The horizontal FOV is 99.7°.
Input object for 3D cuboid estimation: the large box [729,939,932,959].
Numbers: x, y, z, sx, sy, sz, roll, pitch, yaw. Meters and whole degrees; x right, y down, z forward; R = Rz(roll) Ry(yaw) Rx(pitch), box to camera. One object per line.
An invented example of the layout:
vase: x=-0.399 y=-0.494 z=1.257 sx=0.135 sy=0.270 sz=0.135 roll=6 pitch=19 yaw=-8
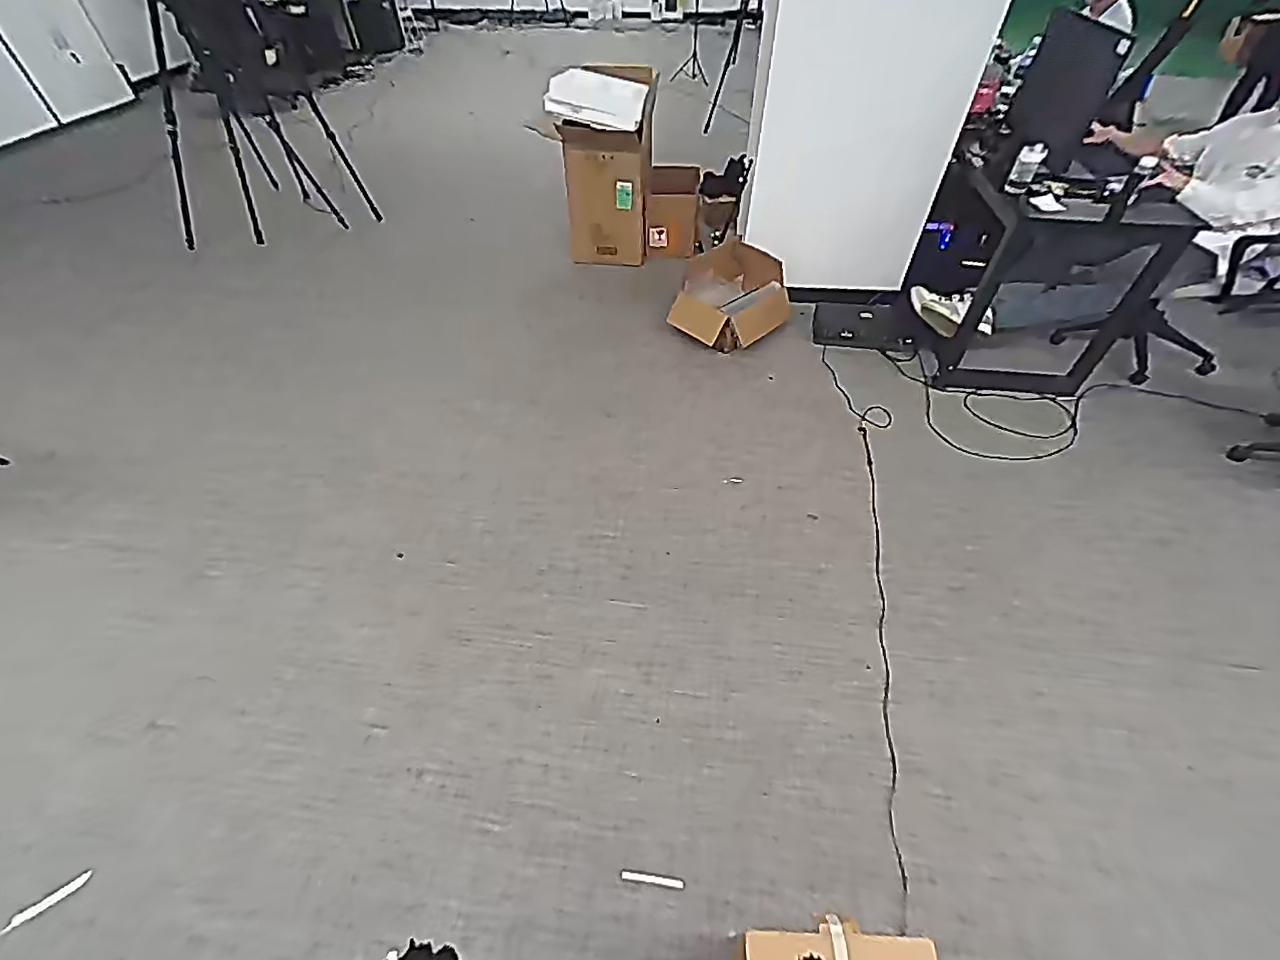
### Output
large box: x=0.332 y=1.027 z=0.897 sx=0.320 sy=0.320 sz=0.408 roll=0 pitch=49 yaw=3
